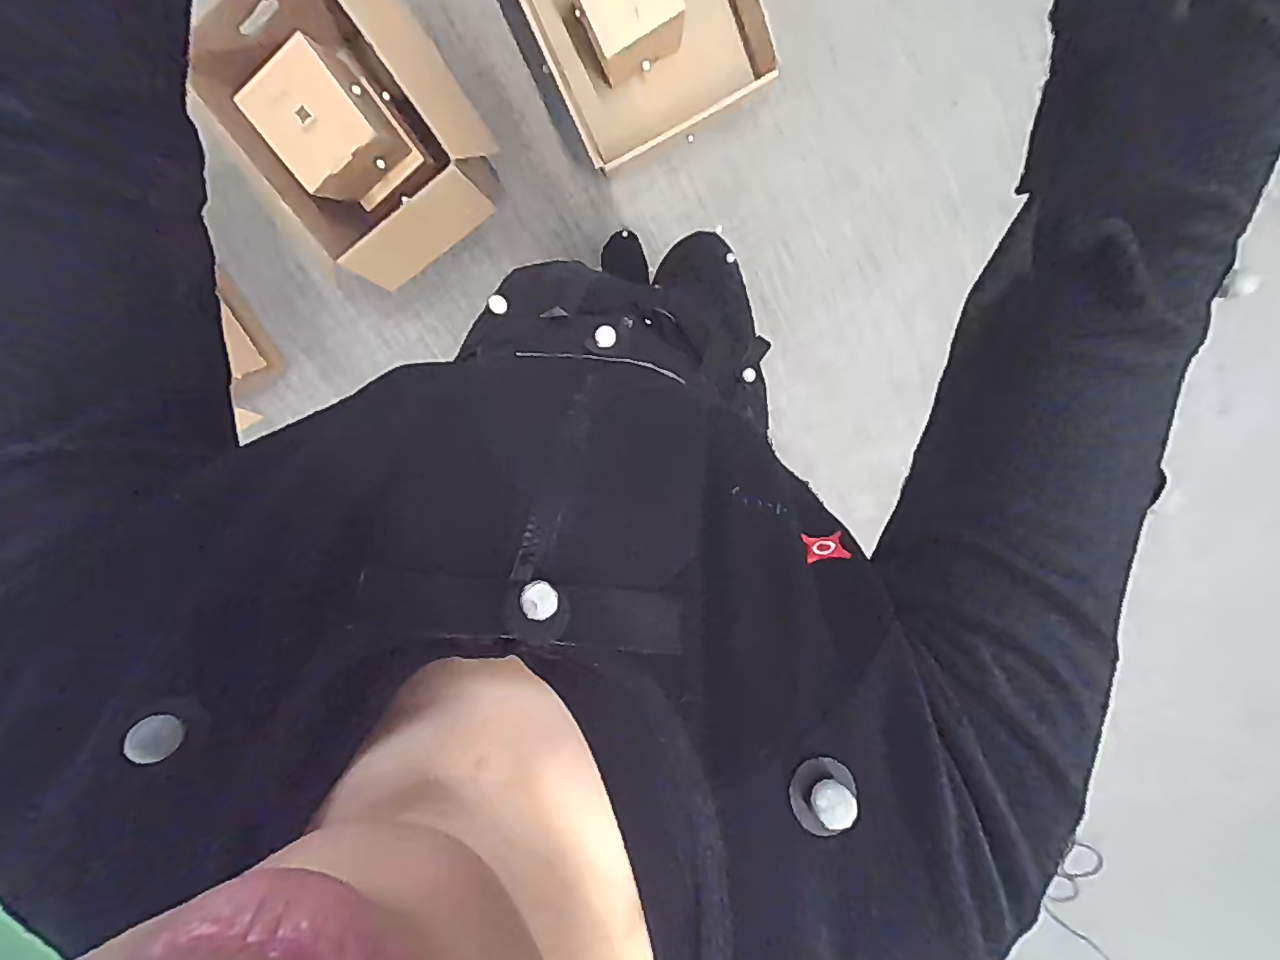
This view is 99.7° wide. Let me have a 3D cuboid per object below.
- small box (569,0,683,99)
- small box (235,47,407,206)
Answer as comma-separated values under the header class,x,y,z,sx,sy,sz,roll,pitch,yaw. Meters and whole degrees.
class,x,y,z,sx,sy,sz,roll,pitch,yaw
small box,-0.031,-0.884,1.036,0.168,0.176,0.179,-26,107,9
small box,-0.570,-0.629,0.995,0.168,0.176,0.179,-33,108,11
